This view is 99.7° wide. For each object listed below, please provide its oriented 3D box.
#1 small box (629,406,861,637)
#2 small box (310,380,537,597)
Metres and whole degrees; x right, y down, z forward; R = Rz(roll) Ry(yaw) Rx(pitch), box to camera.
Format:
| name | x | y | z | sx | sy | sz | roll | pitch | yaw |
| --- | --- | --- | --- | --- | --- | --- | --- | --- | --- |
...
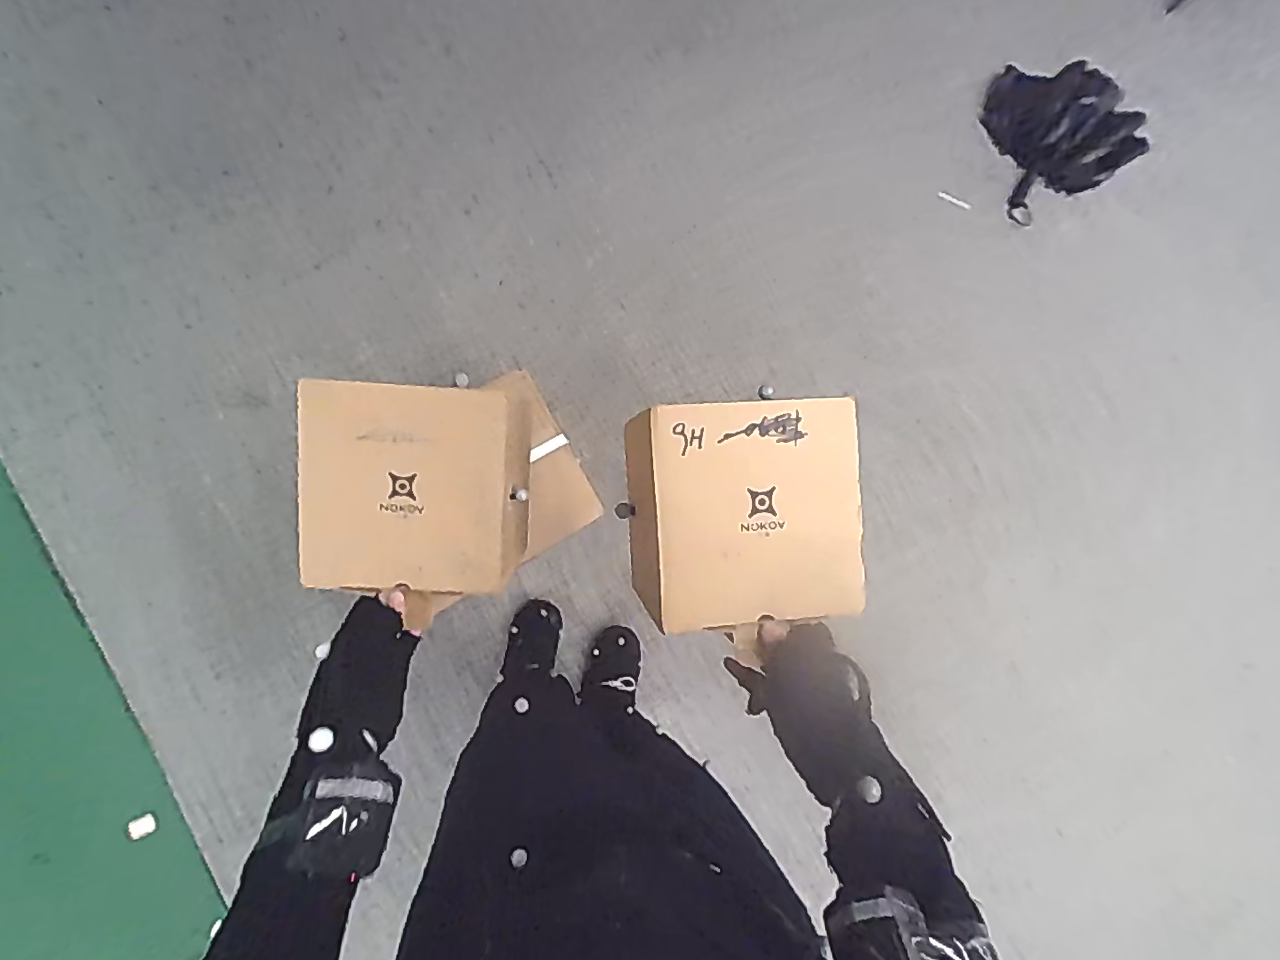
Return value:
| name | x | y | z | sx | sy | sz | roll | pitch | yaw |
| --- | --- | --- | --- | --- | --- | --- | --- | --- | --- |
| small box | 0.084 | 0.028 | 0.502 | 0.168 | 0.176 | 0.179 | -4 | 92 | -9 |
| small box | -0.194 | 0.001 | 0.528 | 0.168 | 0.176 | 0.179 | 3 | 96 | -5 |
